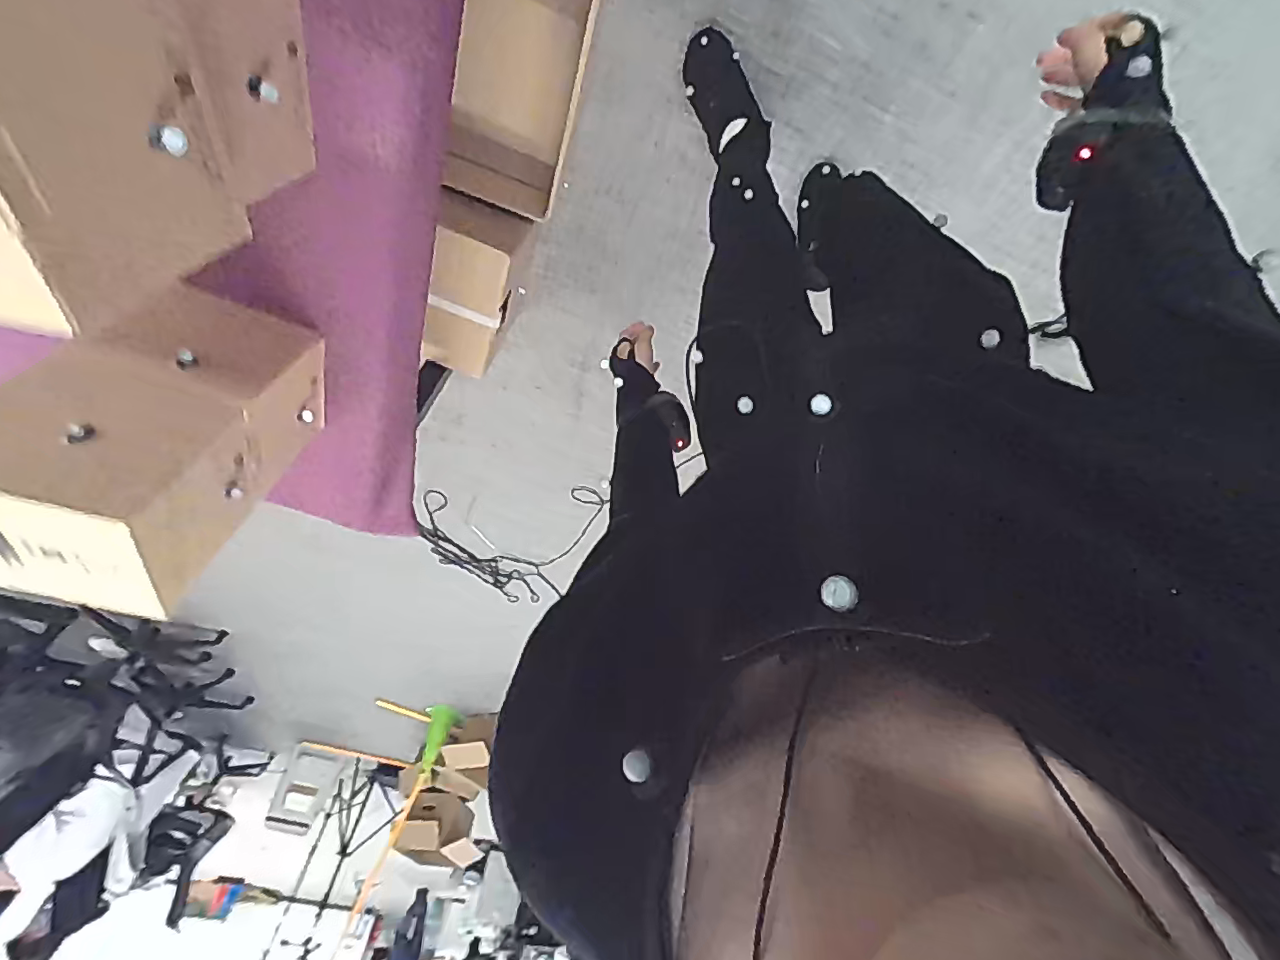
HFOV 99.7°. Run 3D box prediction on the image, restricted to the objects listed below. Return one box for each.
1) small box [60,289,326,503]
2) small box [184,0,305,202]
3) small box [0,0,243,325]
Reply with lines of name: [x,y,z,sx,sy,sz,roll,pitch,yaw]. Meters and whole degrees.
small box: [-0.517,-0.107,0.659,0.179,0.176,0.168,19,132,-12]
small box: [-0.392,-0.342,0.423,0.179,0.176,0.168,16,132,-8]
small box: [-0.387,-0.218,0.311,0.179,0.176,0.168,11,134,-4]
